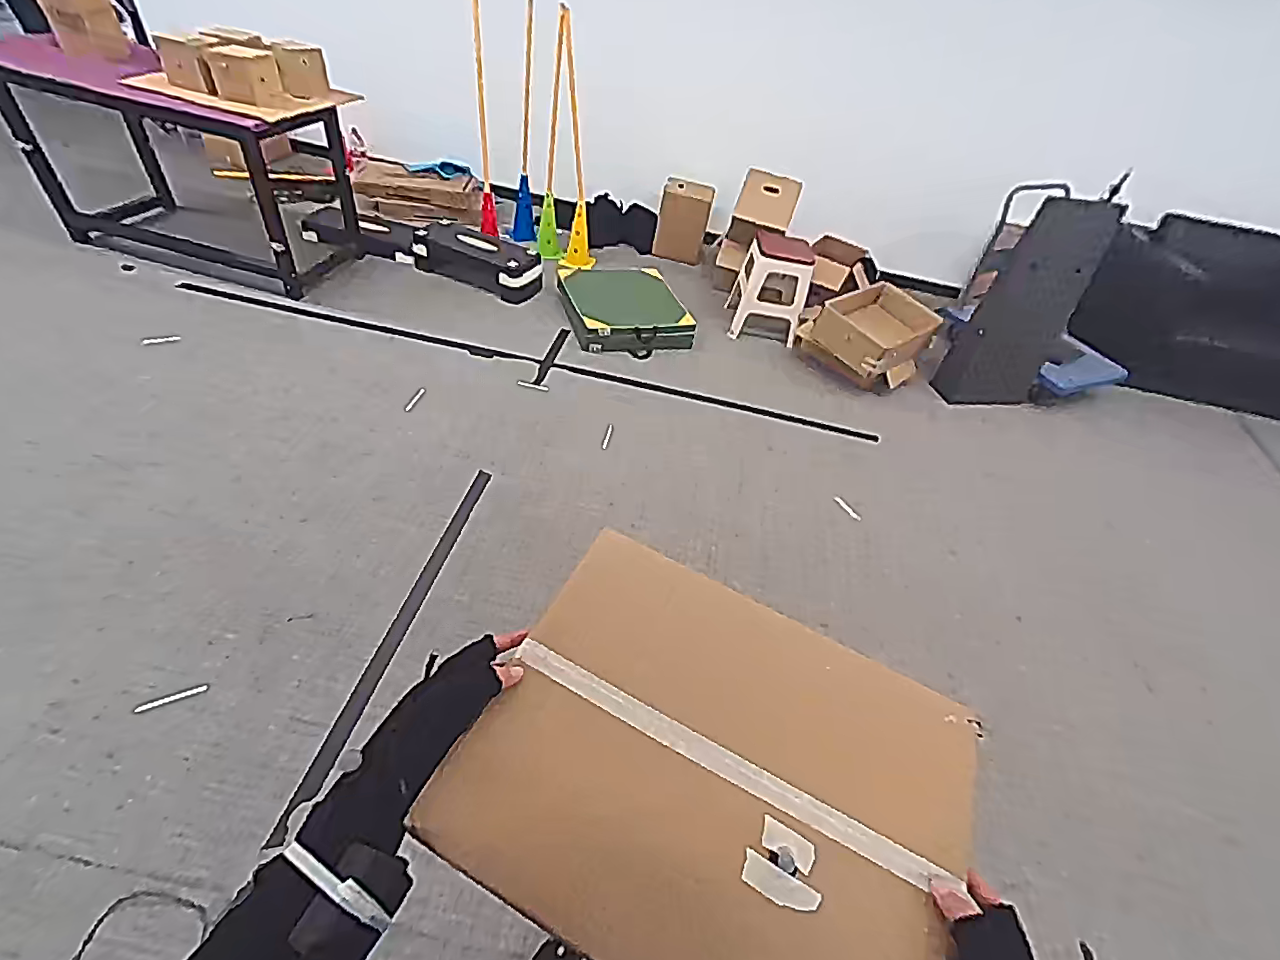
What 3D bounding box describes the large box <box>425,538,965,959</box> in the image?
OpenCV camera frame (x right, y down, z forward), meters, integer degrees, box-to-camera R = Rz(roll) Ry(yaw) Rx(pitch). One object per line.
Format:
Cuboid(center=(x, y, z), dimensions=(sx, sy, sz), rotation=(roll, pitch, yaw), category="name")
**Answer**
Cuboid(center=(0.052, 0.335, 0.583), dimensions=(0.408, 0.320, 0.320), rotation=(26, 53, 11), category="large box")
